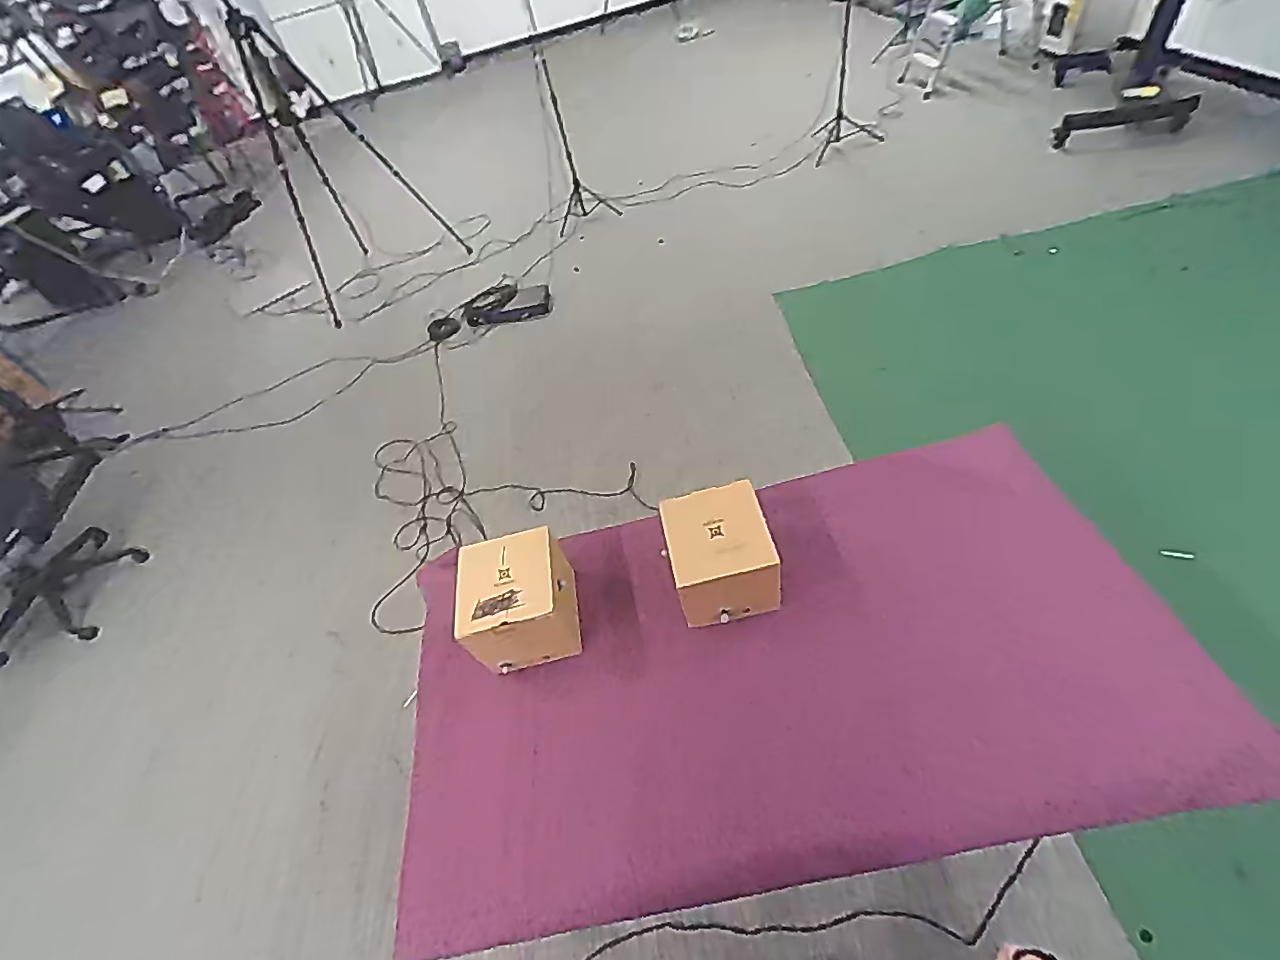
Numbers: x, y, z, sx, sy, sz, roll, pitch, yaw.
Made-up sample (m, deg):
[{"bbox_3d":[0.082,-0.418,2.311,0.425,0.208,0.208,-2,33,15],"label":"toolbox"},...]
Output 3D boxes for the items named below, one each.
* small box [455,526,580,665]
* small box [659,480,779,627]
[{"bbox_3d":[-0.211,0.213,0.963,0.168,0.176,0.179,-14,49,2],"label":"small box"},{"bbox_3d":[0.137,0.131,0.945,0.168,0.176,0.179,-14,50,4],"label":"small box"}]
